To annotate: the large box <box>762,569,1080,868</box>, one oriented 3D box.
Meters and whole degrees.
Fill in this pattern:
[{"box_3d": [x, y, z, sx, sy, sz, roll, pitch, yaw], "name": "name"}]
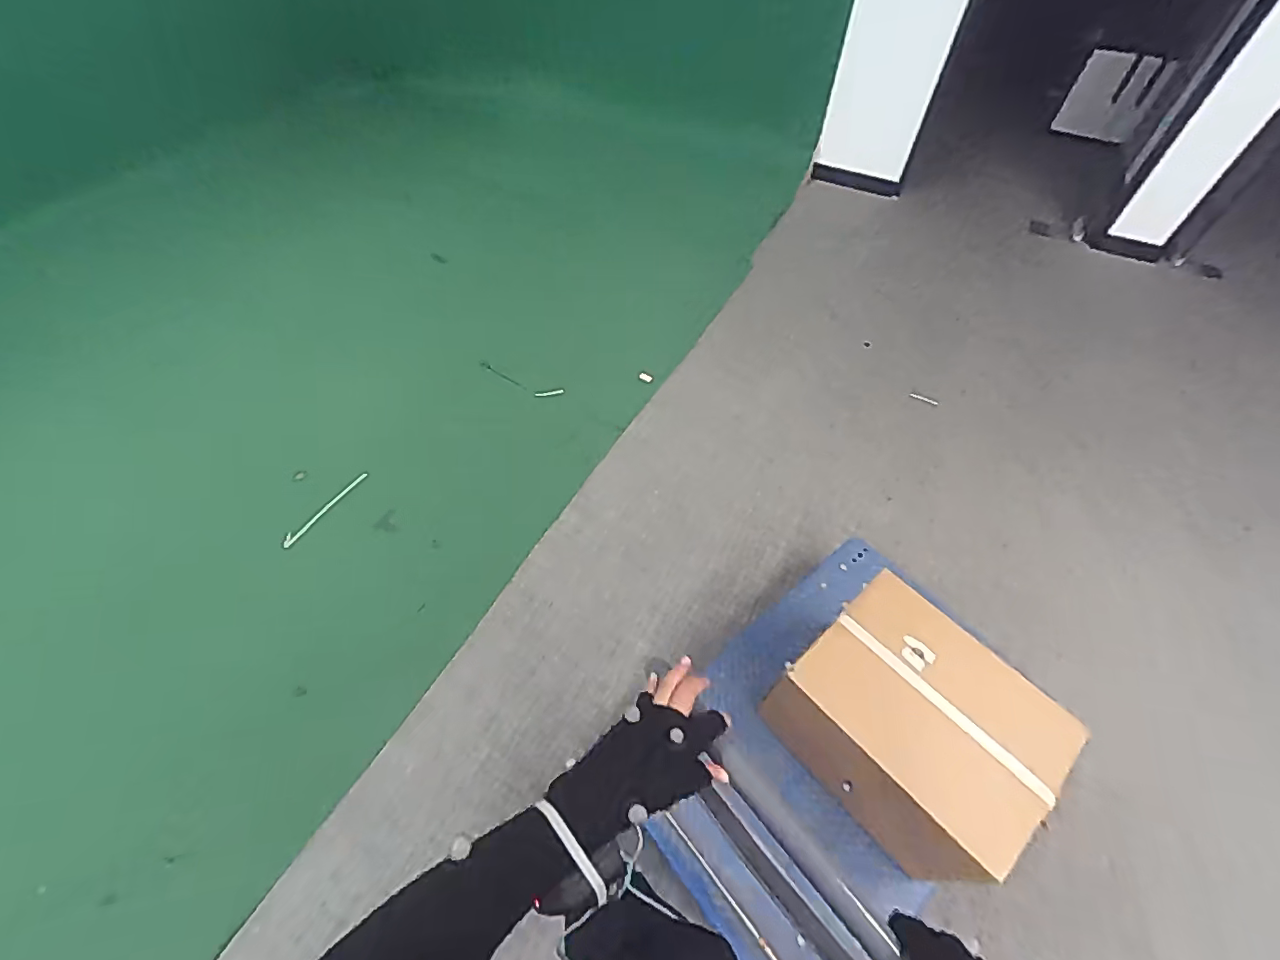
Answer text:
[{"box_3d": [0.509, 0.464, 1.066, 0.320, 0.320, 0.408, -37, 61, -23], "name": "large box"}]
